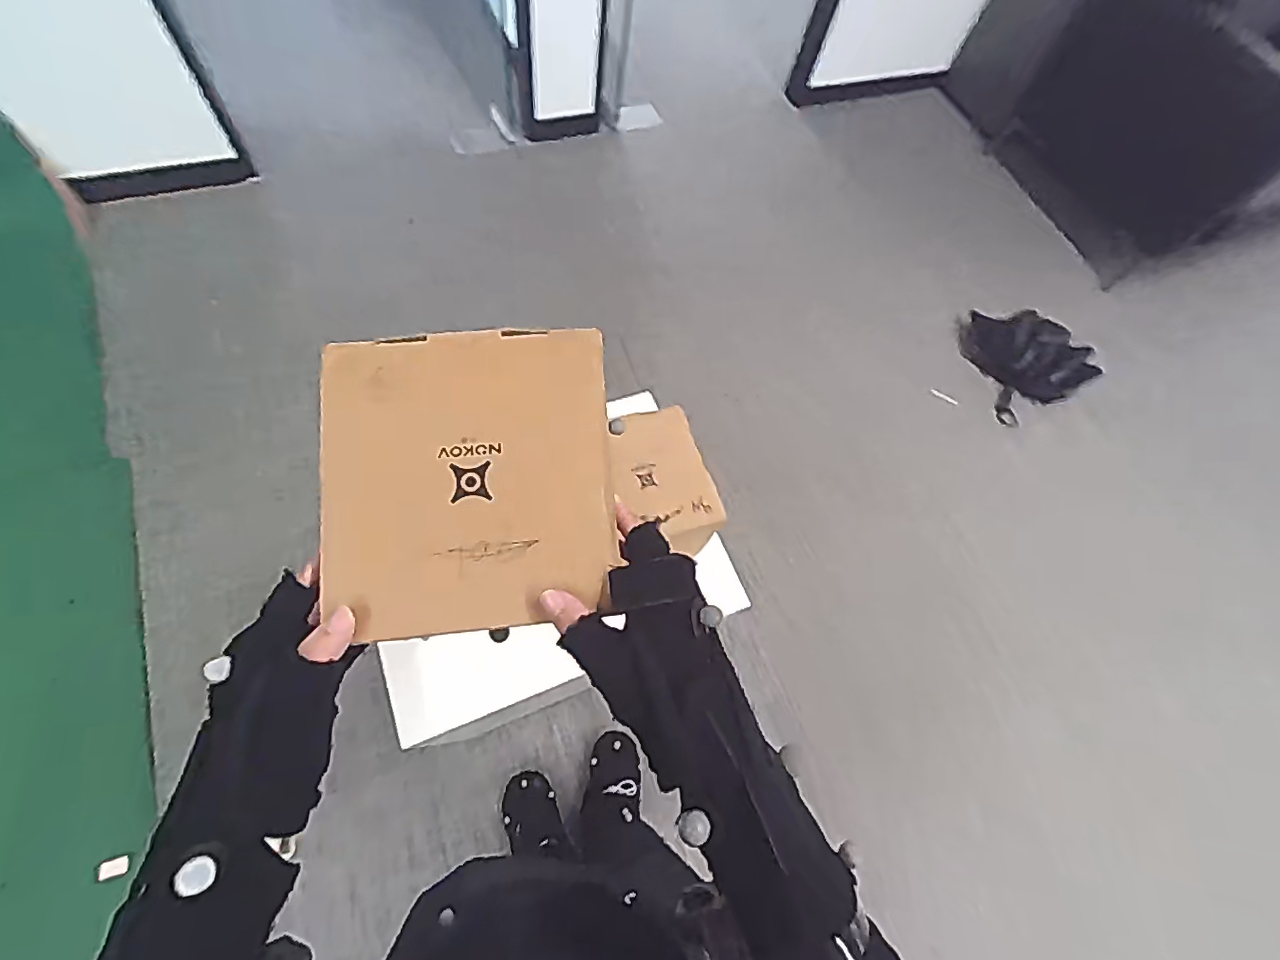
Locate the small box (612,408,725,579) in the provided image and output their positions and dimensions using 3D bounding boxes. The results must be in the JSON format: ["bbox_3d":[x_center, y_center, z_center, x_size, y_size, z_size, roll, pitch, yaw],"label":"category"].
[{"bbox_3d":[-0.004,0.027,0.774,0.168,0.176,0.179,-15,68,-13],"label":"small box"}]

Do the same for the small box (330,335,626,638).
[{"bbox_3d":[-0.101,0.014,0.398,0.168,0.176,0.179,-5,80,-4],"label":"small box"}]
